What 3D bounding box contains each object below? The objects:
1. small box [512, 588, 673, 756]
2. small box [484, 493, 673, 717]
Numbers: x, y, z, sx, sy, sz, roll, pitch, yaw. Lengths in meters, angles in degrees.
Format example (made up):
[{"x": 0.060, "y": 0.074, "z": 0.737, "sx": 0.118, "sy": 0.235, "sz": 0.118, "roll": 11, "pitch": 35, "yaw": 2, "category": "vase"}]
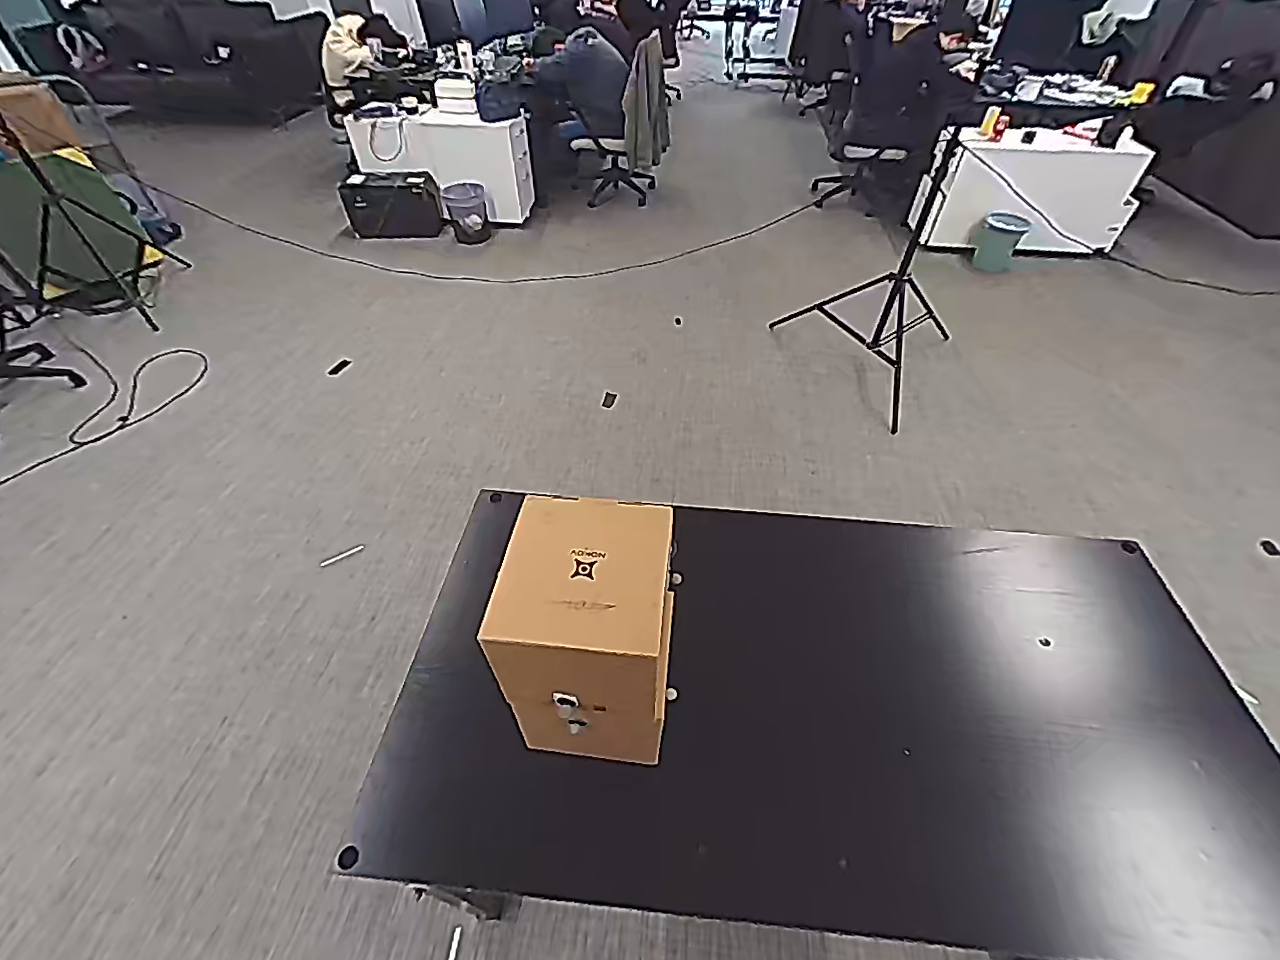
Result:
[{"x": -0.052, "y": 0.249, "z": 0.718, "sx": 0.179, "sy": 0.176, "sz": 0.168, "roll": 6, "pitch": 47, "yaw": 3, "category": "small box"}, {"x": -0.054, "y": 0.138, "z": 0.600, "sx": 0.168, "sy": 0.176, "sz": 0.179, "roll": 3, "pitch": 48, "yaw": 4, "category": "small box"}]
